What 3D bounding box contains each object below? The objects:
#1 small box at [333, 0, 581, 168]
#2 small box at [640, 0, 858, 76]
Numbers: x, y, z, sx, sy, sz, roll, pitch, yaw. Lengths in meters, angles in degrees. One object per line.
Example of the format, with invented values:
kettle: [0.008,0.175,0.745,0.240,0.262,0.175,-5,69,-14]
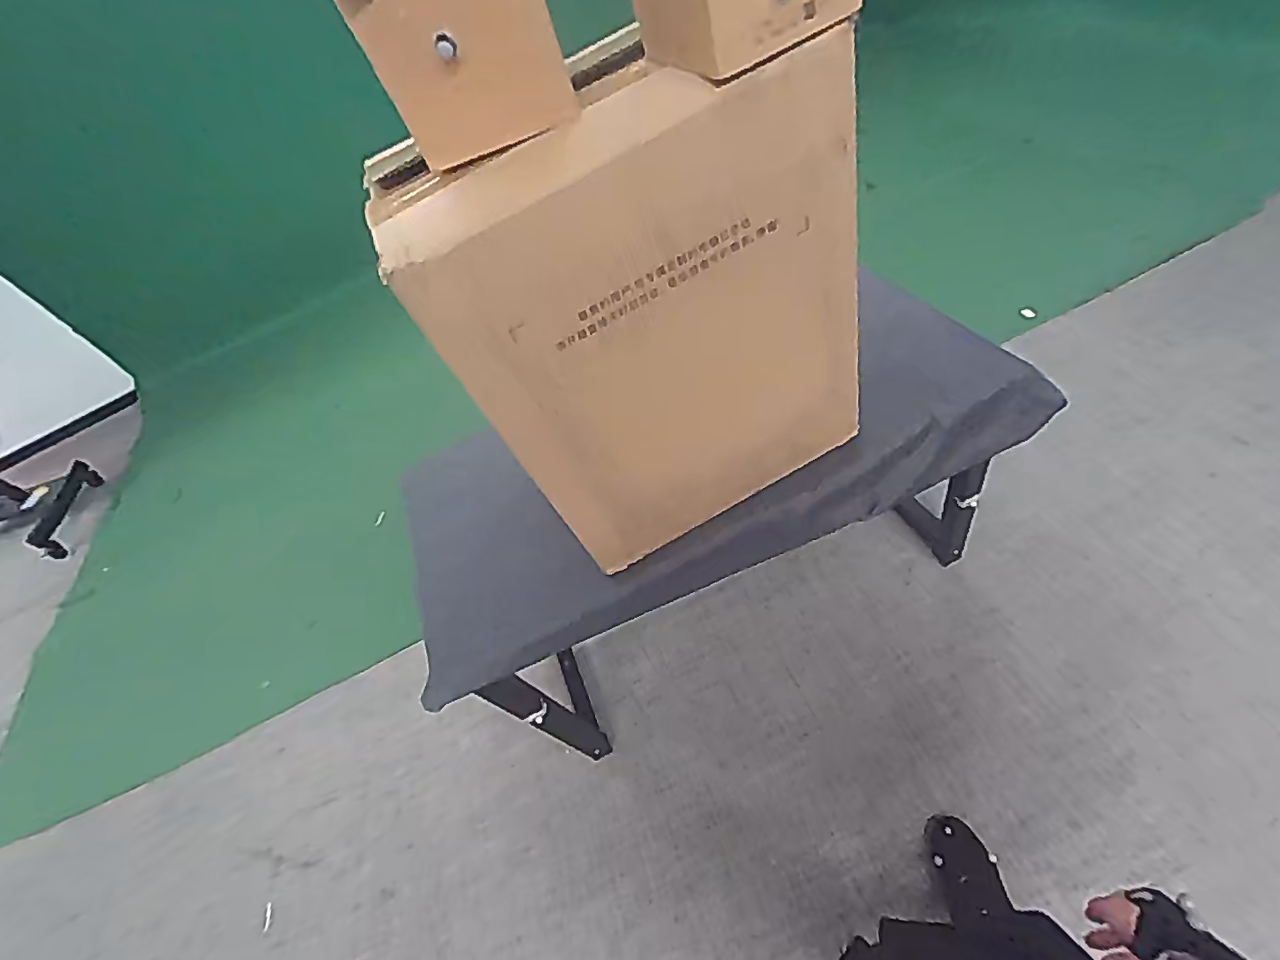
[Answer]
small box: [-0.179,-0.467,0.564,0.179,0.176,0.168,-18,58,6]
small box: [0.092,-0.524,0.519,0.168,0.176,0.179,-29,50,-3]
